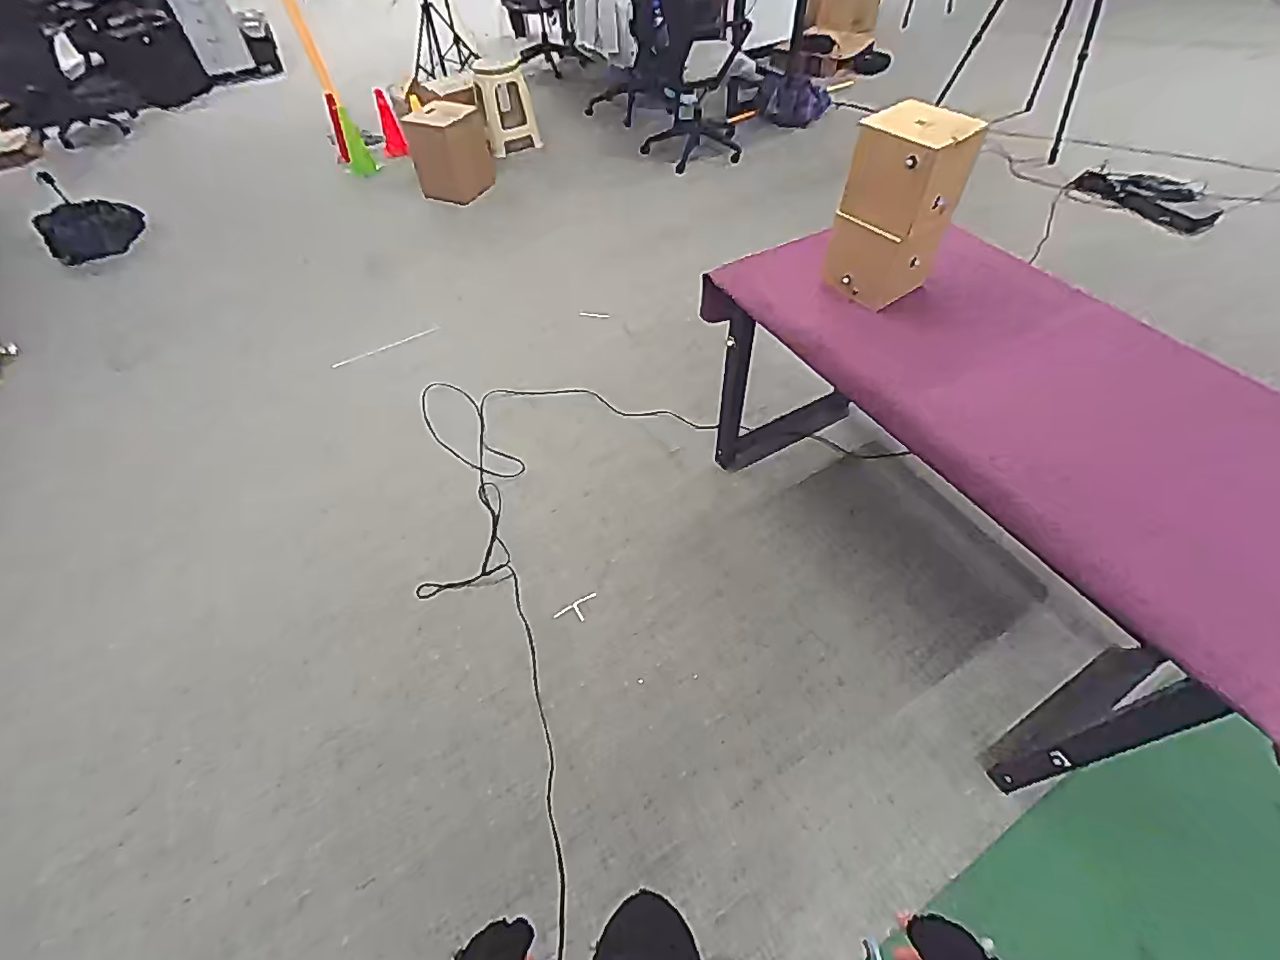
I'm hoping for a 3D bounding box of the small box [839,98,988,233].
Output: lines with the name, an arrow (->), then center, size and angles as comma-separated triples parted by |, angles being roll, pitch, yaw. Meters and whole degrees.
small box -> 0.523, -0.616, 1.063 | 0.168, 0.176, 0.179 | -34, 58, -20
